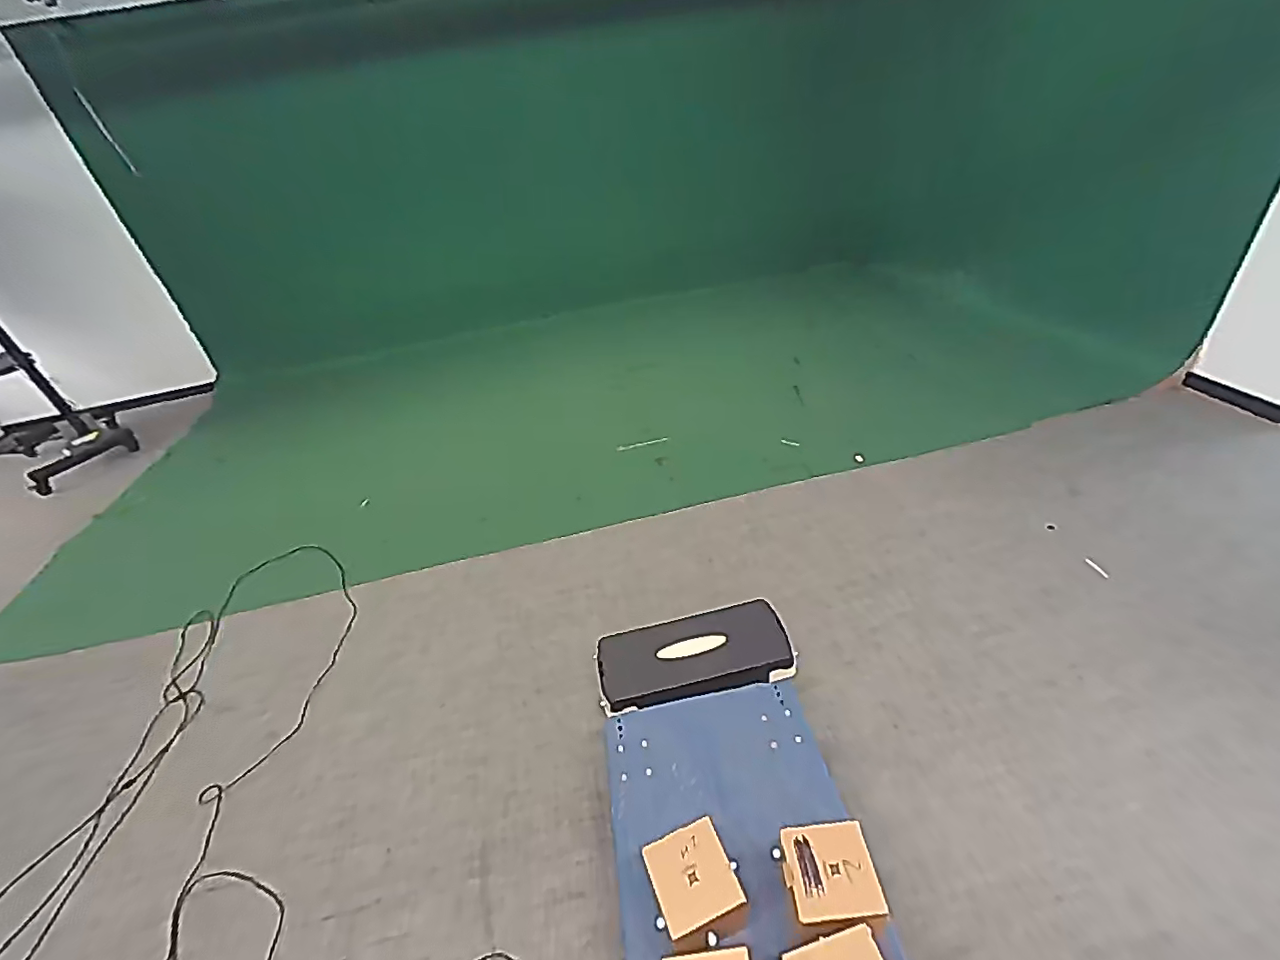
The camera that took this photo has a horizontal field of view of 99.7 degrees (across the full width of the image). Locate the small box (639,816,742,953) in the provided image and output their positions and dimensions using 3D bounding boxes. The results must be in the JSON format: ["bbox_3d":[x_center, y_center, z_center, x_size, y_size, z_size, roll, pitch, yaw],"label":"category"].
[{"bbox_3d":[0.111,0.884,1.176,0.168,0.176,0.179,-17,37,-13],"label":"small box"}]
